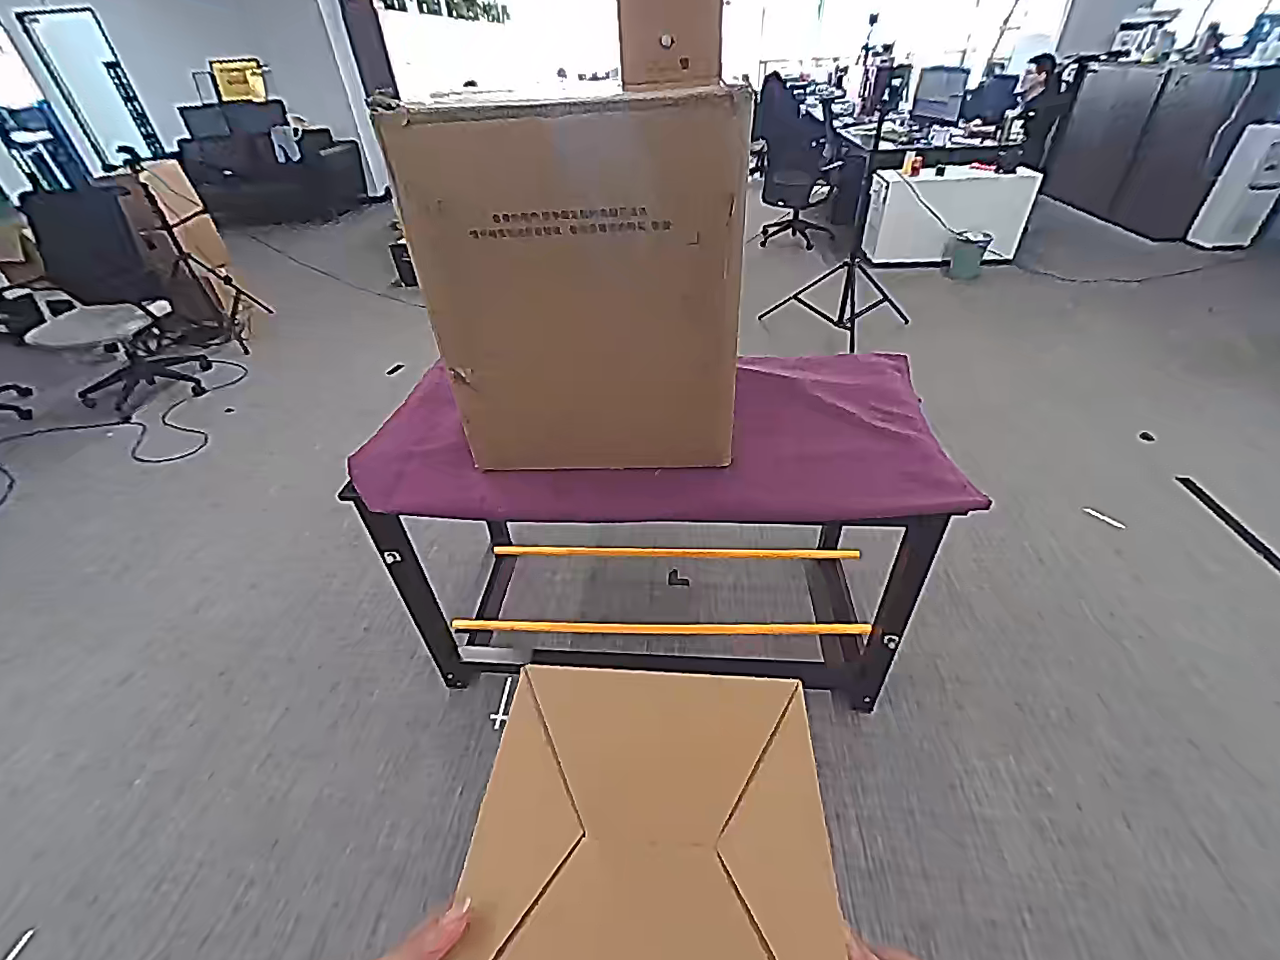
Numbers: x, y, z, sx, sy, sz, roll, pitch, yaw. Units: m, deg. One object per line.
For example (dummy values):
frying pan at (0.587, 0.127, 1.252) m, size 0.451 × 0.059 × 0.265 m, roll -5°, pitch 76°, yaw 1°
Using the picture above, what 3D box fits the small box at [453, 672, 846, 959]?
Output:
small box at (0.009, 0.234, 0.302) m, size 0.168 × 0.176 × 0.179 m, roll 2°, pitch 37°, yaw 5°

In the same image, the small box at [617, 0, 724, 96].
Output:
small box at (0.053, -0.747, 0.898) m, size 0.168 × 0.176 × 0.179 m, roll 0°, pitch 39°, yaw 6°
